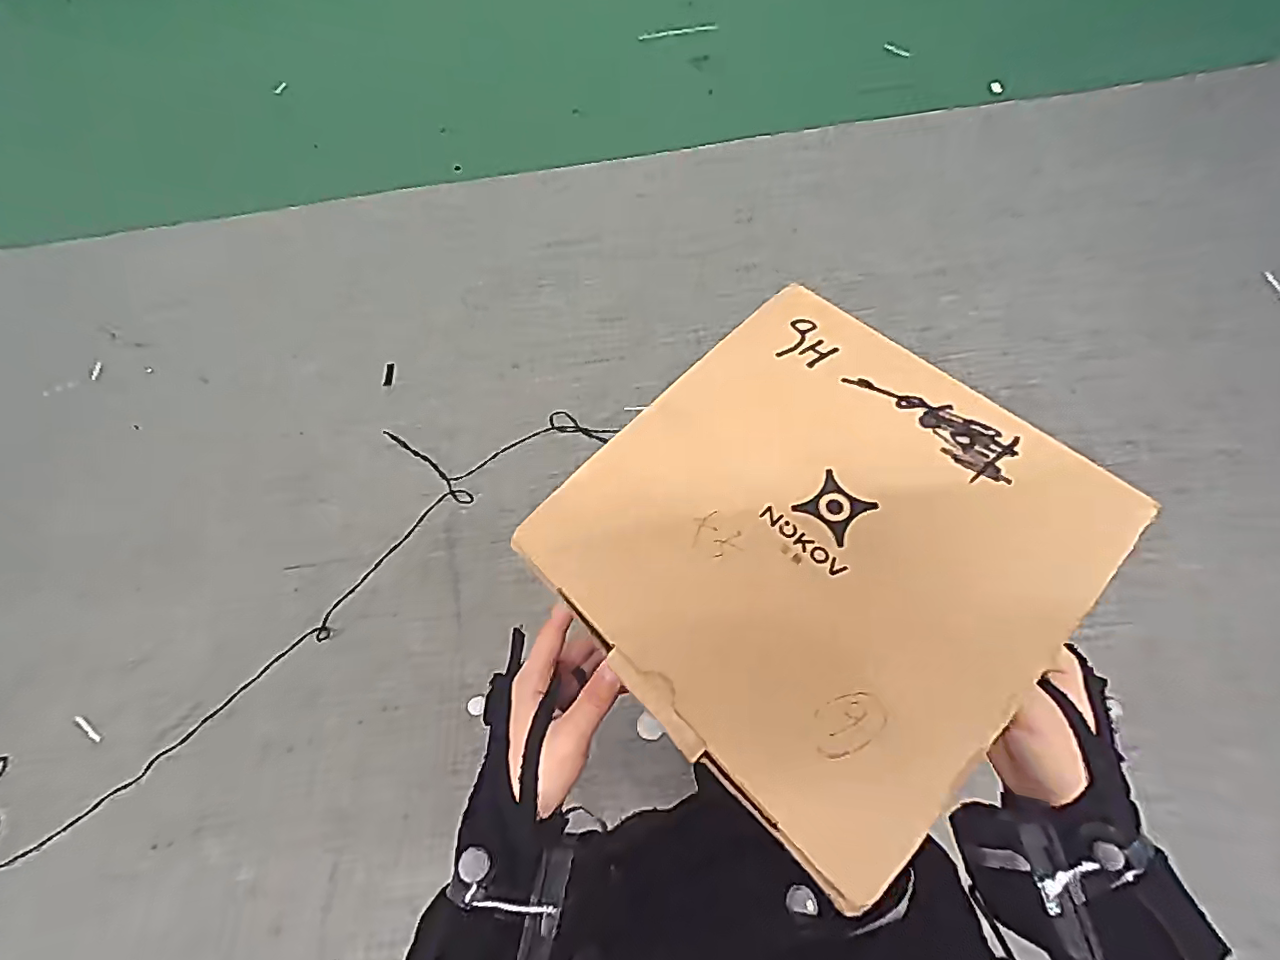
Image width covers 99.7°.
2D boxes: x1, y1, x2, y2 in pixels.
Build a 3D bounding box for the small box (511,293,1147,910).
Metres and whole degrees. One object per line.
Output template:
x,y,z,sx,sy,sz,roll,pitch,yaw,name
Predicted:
0.073,0.053,0.274,0.179,0.176,0.168,-43,67,-12,small box
